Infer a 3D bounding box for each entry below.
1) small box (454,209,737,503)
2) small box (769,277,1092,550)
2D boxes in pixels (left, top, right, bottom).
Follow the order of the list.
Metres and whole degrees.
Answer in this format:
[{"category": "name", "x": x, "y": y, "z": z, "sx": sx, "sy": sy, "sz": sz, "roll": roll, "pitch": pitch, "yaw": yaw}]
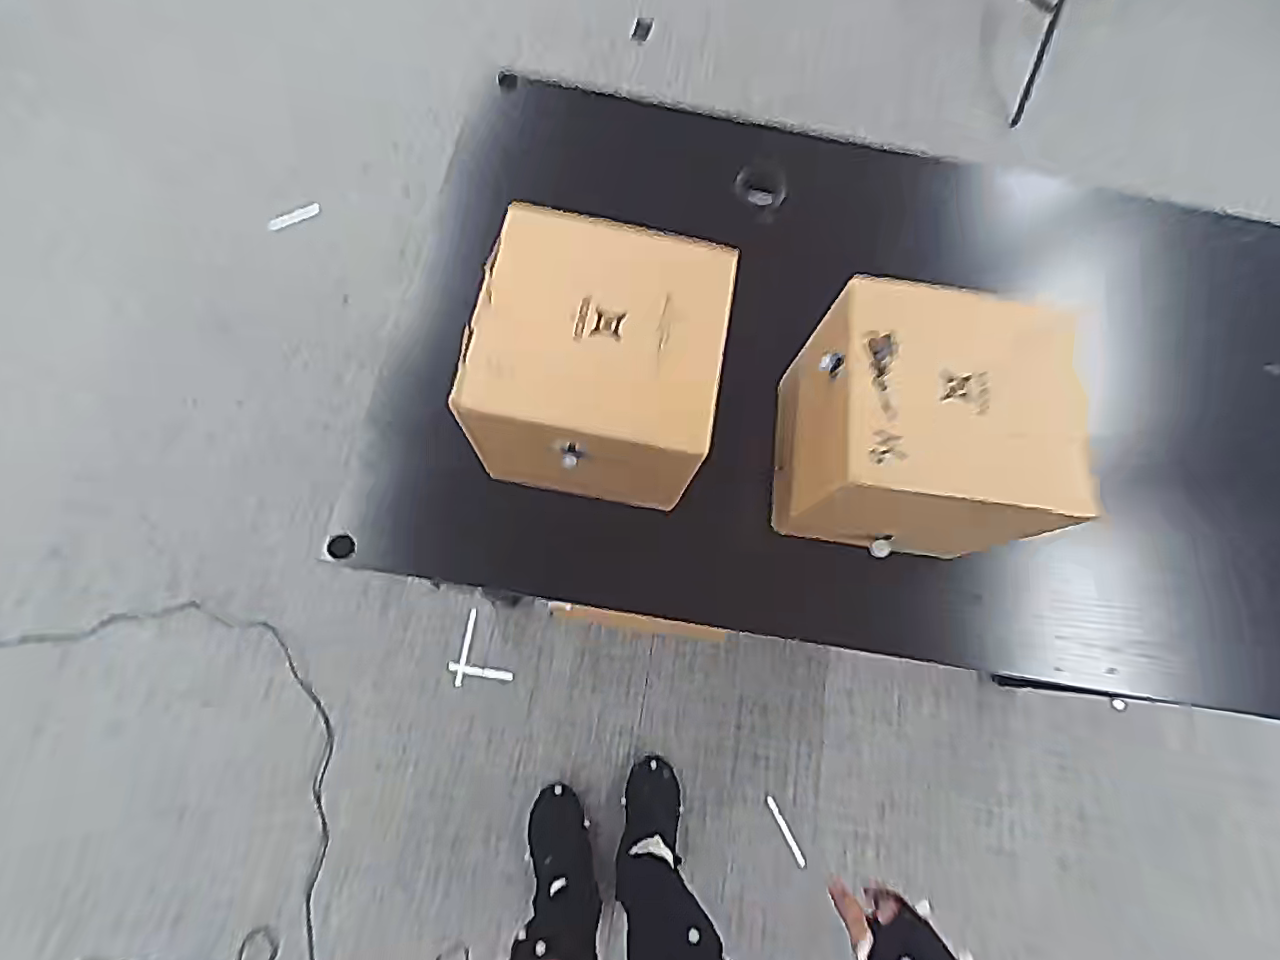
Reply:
[{"category": "small box", "x": -0.032, "y": -0.087, "z": 0.455, "sx": 0.179, "sy": 0.176, "sz": 0.168, "roll": 10, "pitch": 73, "yaw": -3}, {"category": "small box", "x": 0.227, "y": -0.040, "z": 0.464, "sx": 0.179, "sy": 0.176, "sz": 0.168, "roll": 9, "pitch": 72, "yaw": -3}]
